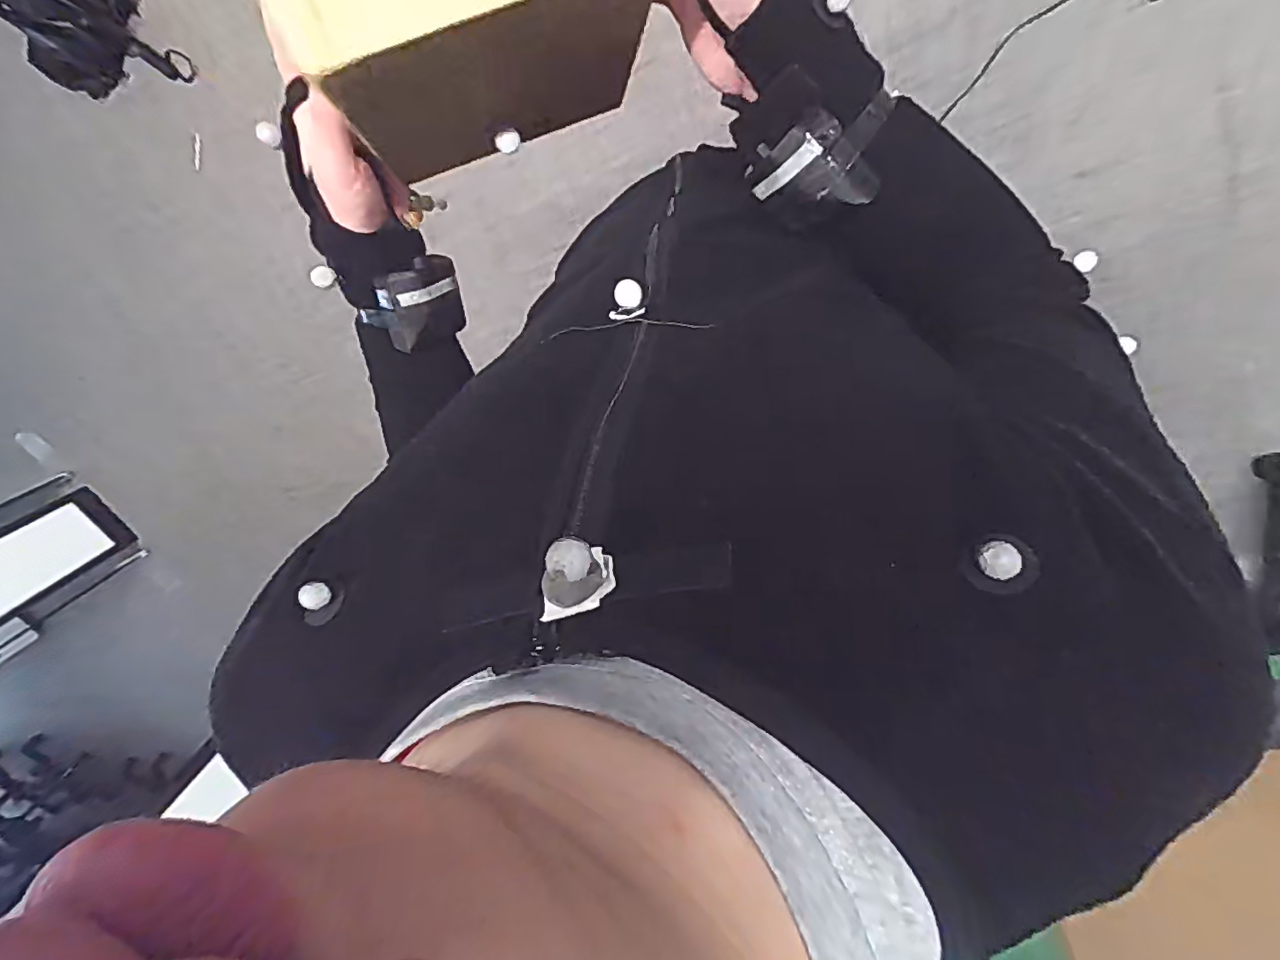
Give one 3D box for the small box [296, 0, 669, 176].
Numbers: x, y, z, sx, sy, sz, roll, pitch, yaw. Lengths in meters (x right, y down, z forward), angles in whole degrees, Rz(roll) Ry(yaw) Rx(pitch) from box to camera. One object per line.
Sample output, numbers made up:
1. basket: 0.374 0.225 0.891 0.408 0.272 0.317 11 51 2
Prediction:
1. small box: -0.098 -0.295 0.281 0.168 0.176 0.179 -23 108 -4
